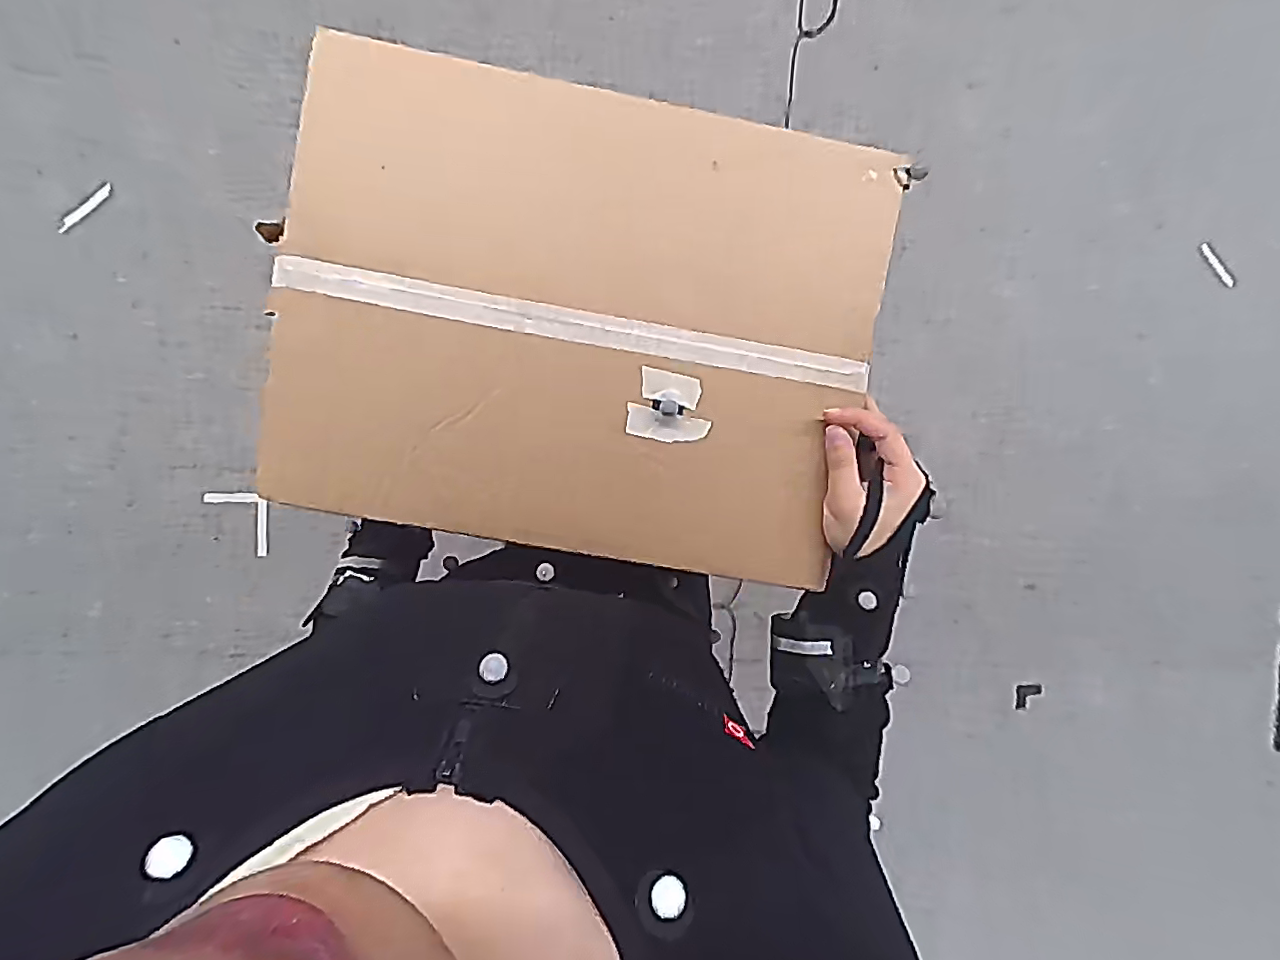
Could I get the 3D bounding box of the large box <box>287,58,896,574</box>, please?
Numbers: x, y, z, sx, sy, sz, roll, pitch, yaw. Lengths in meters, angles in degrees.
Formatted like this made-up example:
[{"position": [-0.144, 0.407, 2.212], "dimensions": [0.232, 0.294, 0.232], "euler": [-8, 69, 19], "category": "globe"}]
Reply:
[{"position": [-0.042, -0.116, 0.532], "dimensions": [0.408, 0.320, 0.320], "euler": [9, 94, -4], "category": "large box"}]
